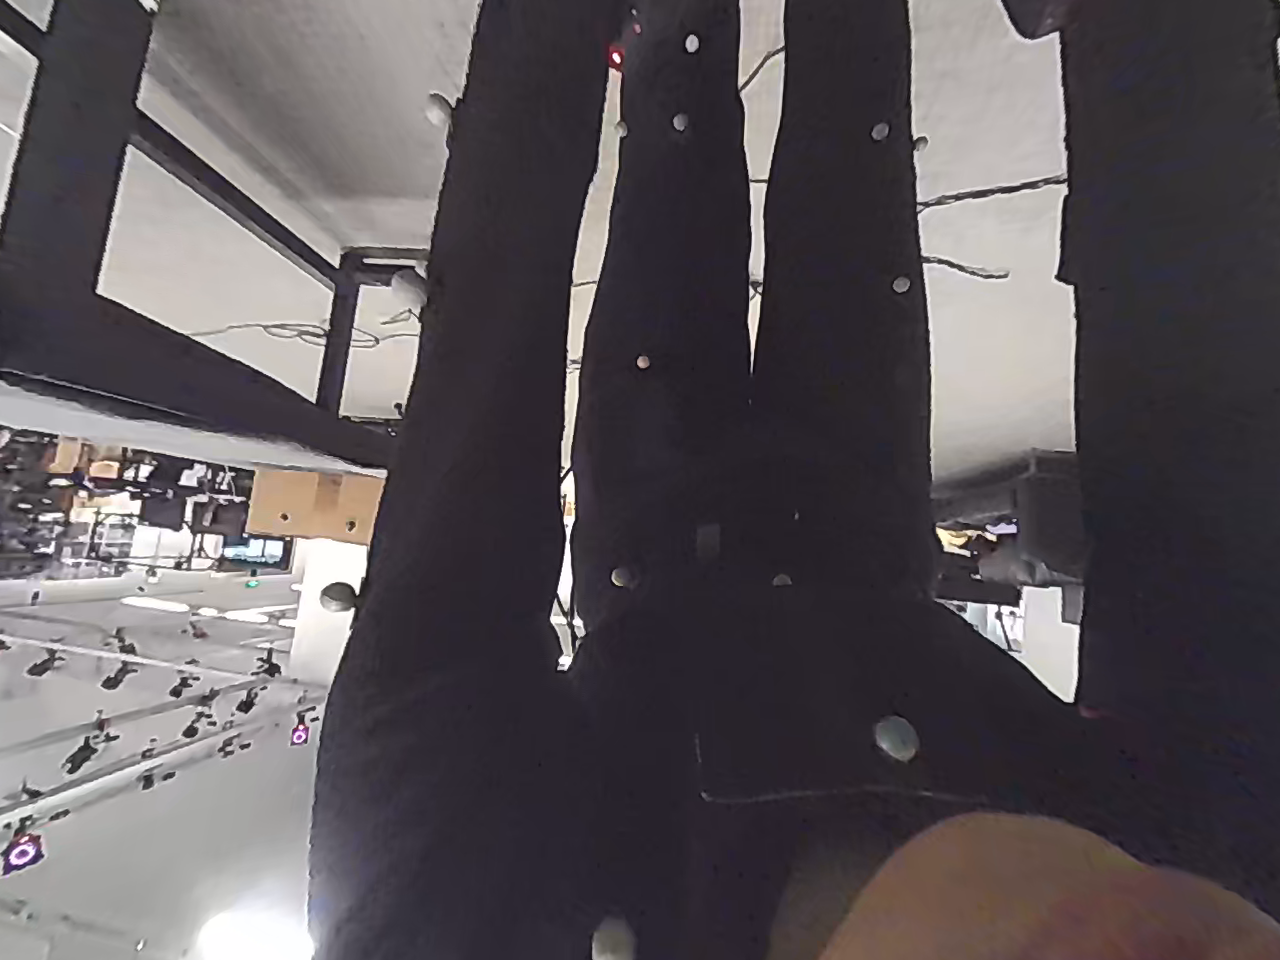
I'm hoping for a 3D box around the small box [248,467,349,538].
[{"bbox_3d":[-0.875,0.061,1.413,0.179,0.176,0.168,5,173,7],"label":"small box"}]

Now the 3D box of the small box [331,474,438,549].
[{"bbox_3d":[-0.642,0.081,1.377,0.179,0.176,0.168,7,174,5],"label":"small box"}]
